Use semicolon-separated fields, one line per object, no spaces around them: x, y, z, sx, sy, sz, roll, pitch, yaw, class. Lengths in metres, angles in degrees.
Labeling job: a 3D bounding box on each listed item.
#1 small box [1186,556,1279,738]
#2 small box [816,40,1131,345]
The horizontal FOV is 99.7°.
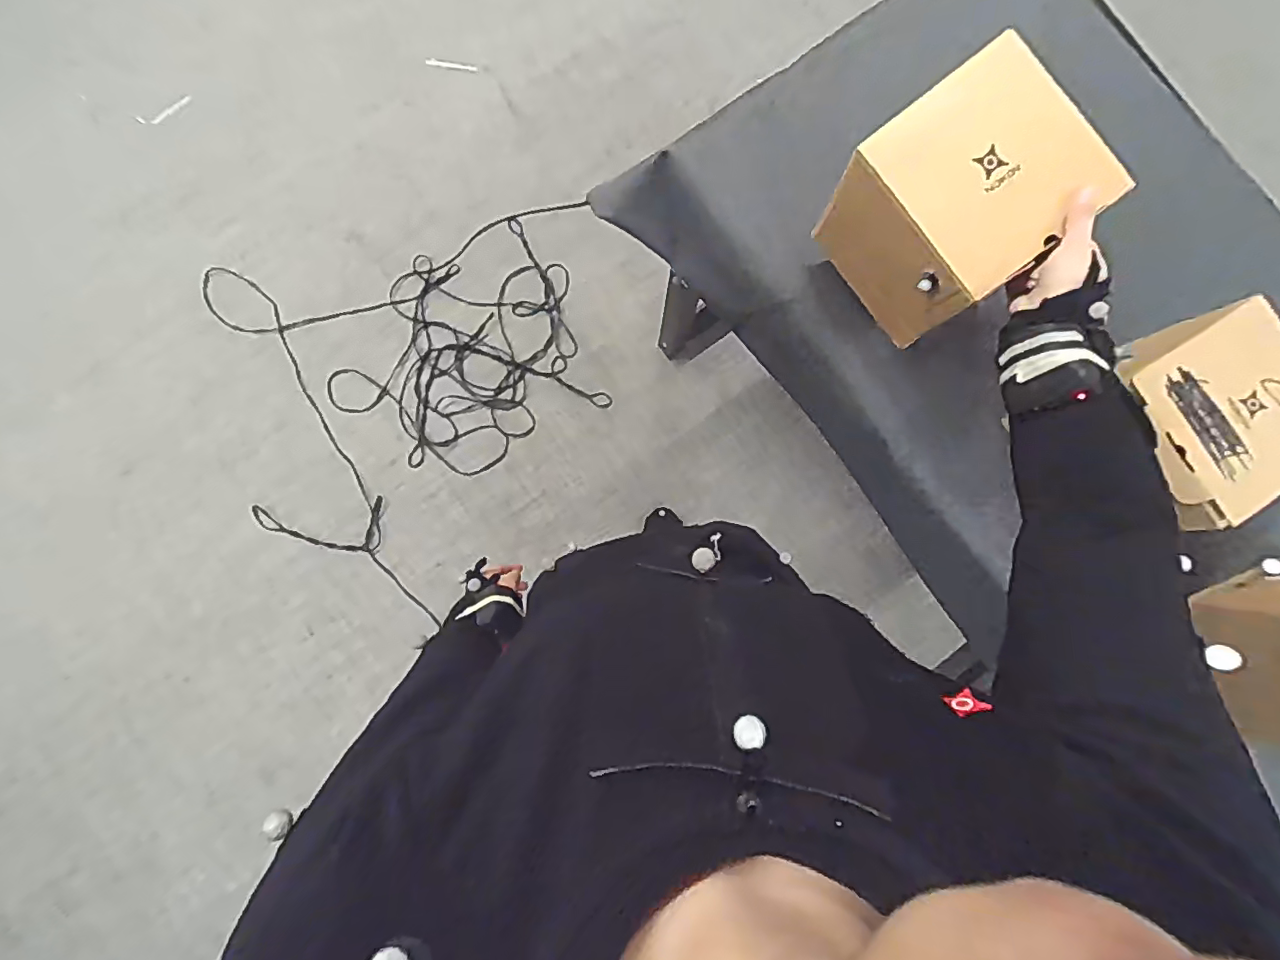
0.768;0.187;0.578;0.168;0.176;0.179;-21;84;-4;small box
0.309;-0.266;0.547;0.168;0.176;0.179;-38;88;2;small box
